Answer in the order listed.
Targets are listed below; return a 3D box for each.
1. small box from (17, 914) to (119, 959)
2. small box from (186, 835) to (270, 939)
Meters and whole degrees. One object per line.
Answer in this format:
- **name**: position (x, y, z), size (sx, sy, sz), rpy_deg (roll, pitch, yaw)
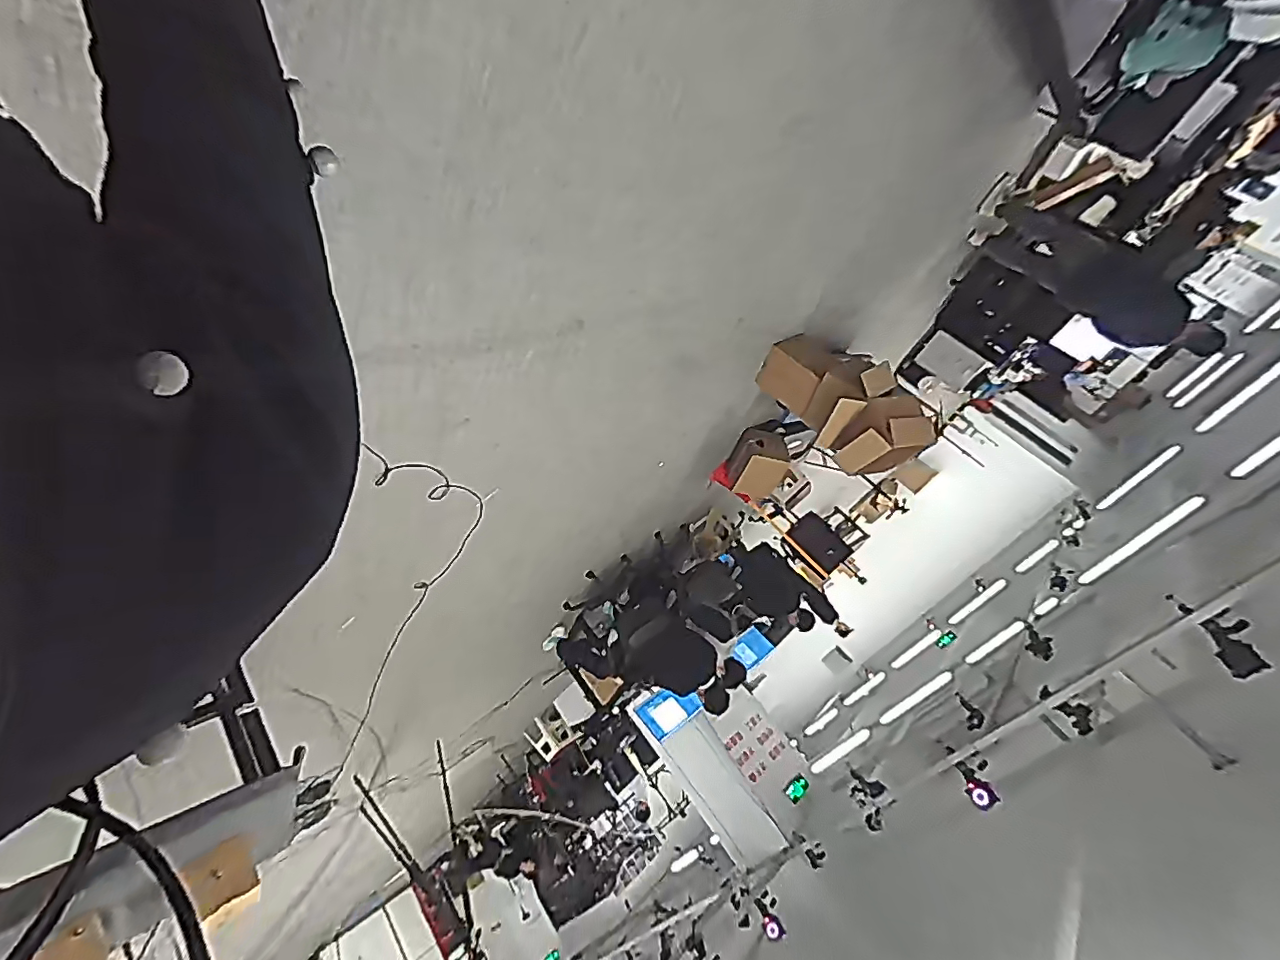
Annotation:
- **small box**: position (-1.450, 1.259, 1.376), size (0.168, 0.176, 0.179), rpy_deg (-14, 144, -47)
- **small box**: position (-1.236, 1.215, 1.625), size (0.168, 0.176, 0.179), rpy_deg (-16, 144, -44)
